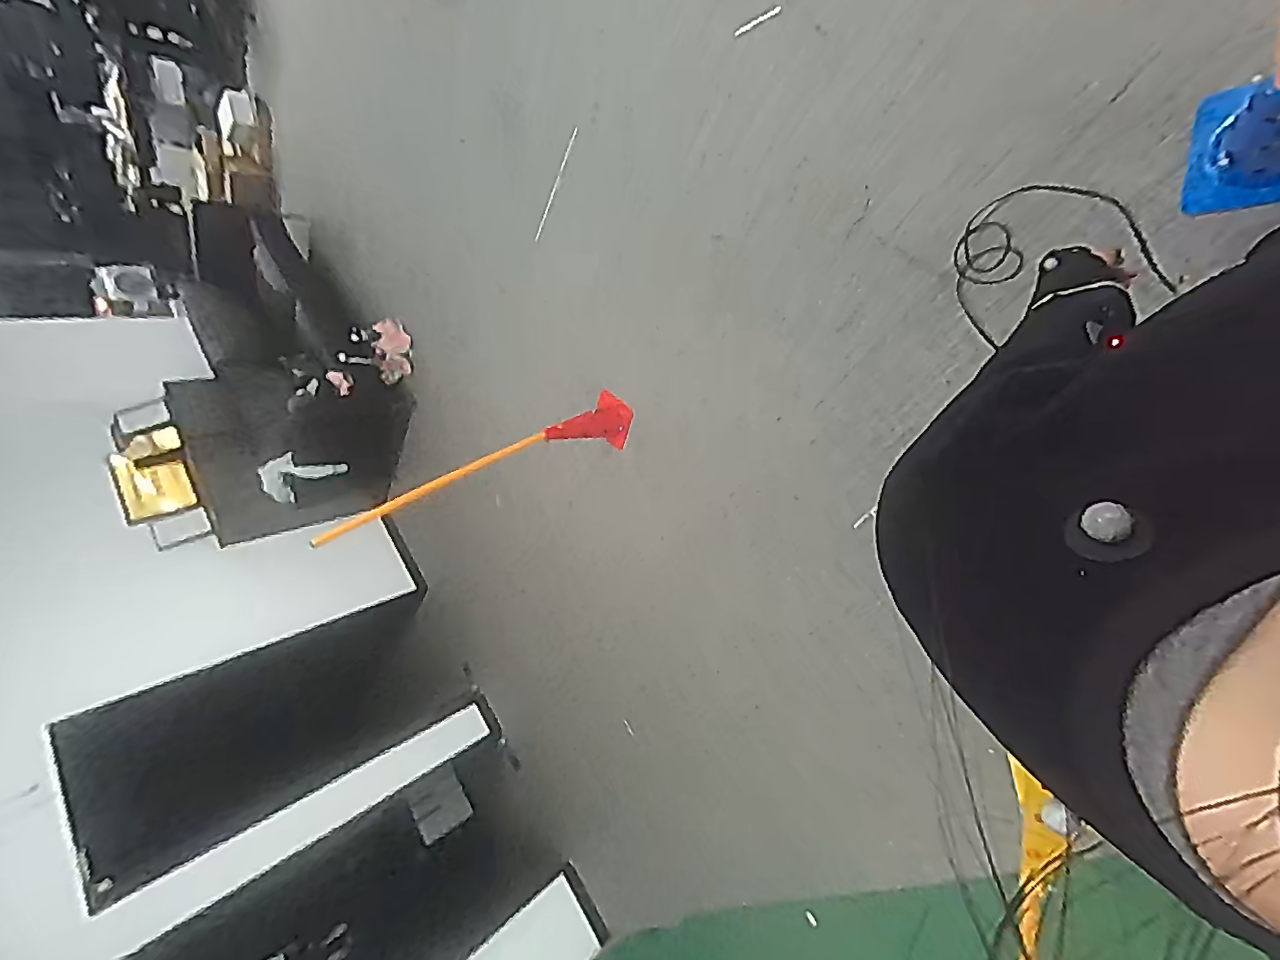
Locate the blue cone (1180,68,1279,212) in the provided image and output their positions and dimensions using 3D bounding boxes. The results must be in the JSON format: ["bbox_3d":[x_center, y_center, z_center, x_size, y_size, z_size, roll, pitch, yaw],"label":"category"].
[{"bbox_3d":[0.951,-0.545,0.814,0.192,0.380,0.193,10,107,44],"label":"blue cone"}]
